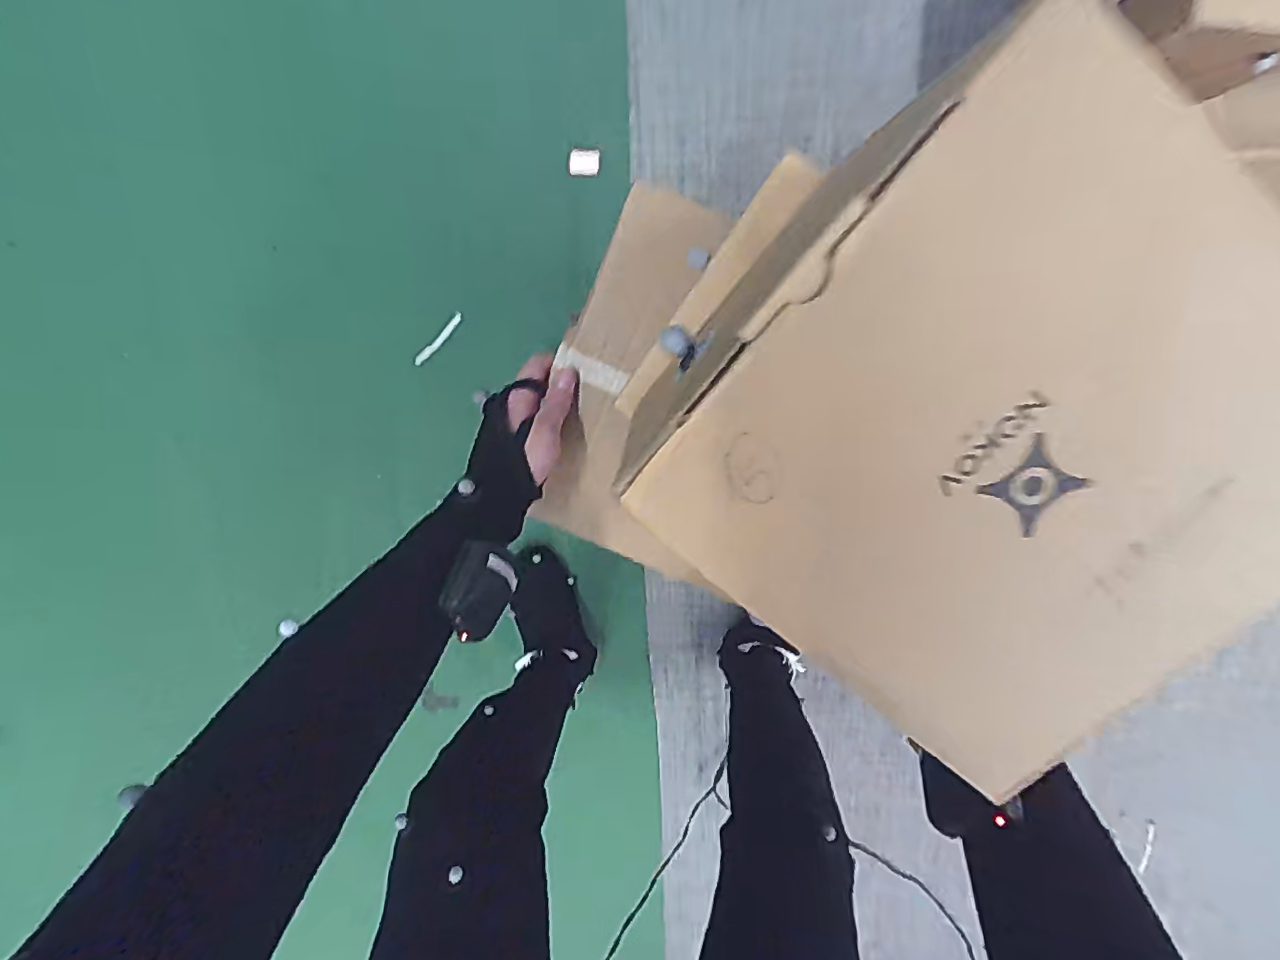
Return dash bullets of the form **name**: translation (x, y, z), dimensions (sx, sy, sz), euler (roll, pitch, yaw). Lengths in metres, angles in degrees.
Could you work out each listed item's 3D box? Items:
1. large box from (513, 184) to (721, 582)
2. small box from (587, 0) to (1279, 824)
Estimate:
- **large box**: translation (0.121, -0.074, 0.625), dimensions (0.408, 0.320, 0.320), euler (23, 107, -4)
- **small box**: translation (0.104, -0.024, 0.217), dimensions (0.179, 0.176, 0.168), euler (39, 105, -9)
